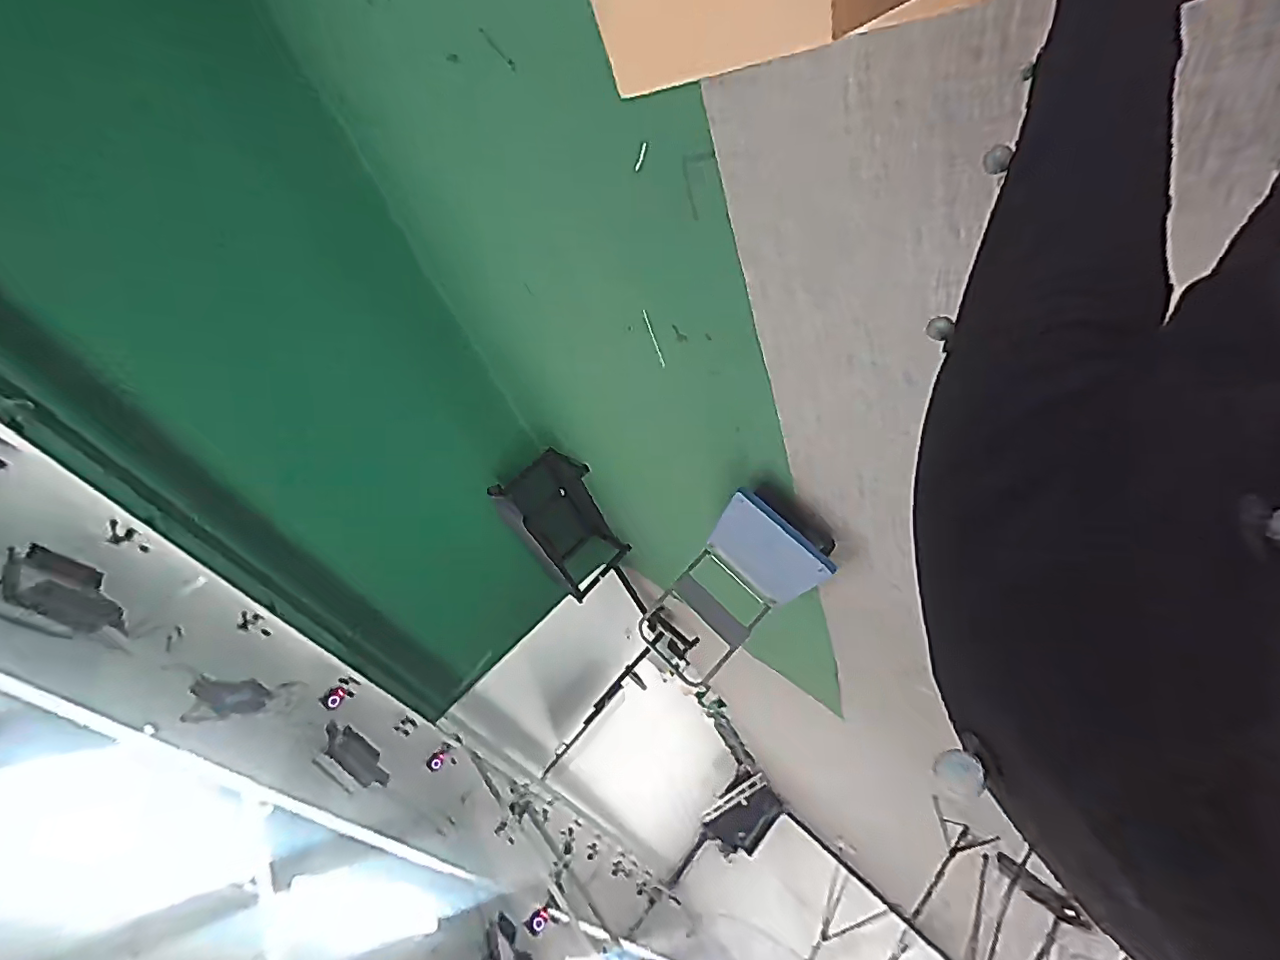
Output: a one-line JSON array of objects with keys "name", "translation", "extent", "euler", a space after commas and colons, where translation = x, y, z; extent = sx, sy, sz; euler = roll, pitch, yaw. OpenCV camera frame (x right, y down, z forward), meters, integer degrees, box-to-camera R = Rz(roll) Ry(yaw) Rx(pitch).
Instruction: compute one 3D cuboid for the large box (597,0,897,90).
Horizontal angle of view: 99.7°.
[{"name": "large box", "translation": [0.162, -0.780, 0.723], "extent": [0.408, 0.320, 0.320], "euler": [27, 148, 43]}]
